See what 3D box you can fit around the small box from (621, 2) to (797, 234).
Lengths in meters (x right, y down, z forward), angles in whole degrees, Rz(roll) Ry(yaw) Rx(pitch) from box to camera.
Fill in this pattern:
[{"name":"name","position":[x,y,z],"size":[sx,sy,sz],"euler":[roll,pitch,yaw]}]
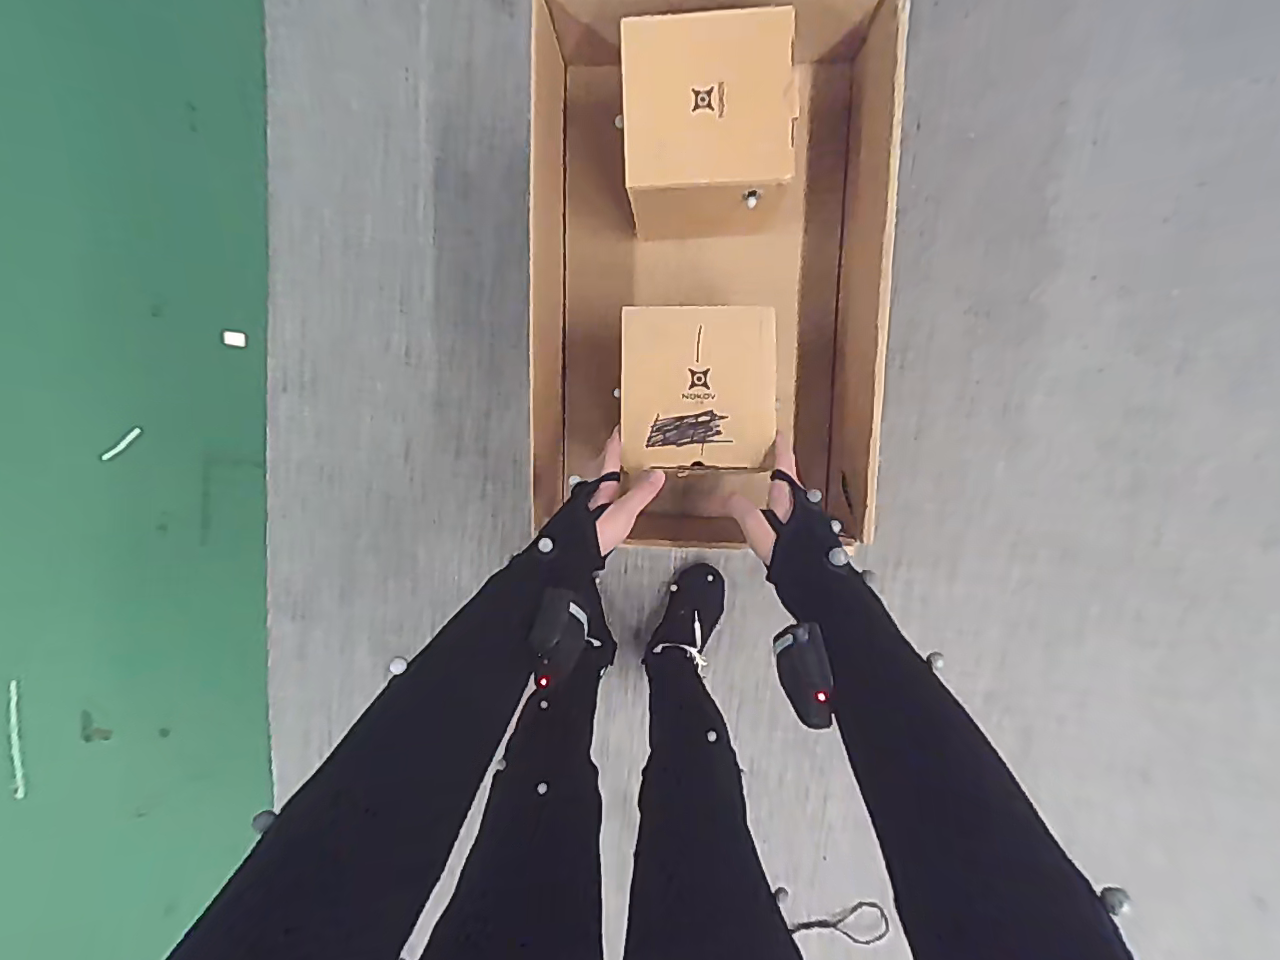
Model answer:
[{"name":"small box","position":[0.075,-0.397,0.625],"size":[0.179,0.176,0.168],"euler":[-1,96,3]}]
